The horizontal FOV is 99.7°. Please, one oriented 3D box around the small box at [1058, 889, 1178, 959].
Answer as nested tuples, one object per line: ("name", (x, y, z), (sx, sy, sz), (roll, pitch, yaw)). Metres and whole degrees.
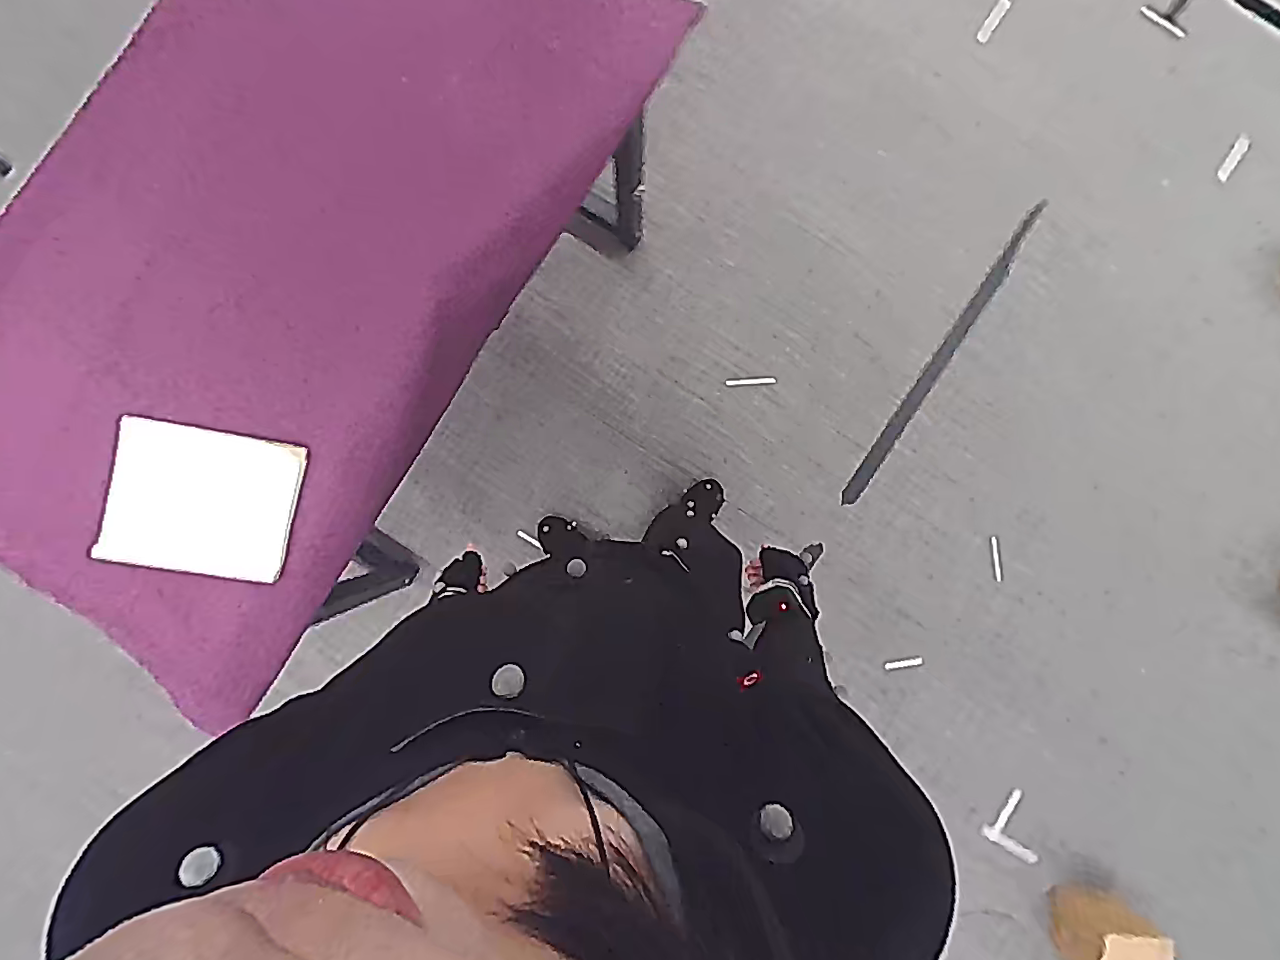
("small box", (1.245, 1.218, 1.420), (0.179, 0.176, 0.168), (5, 88, 0))
